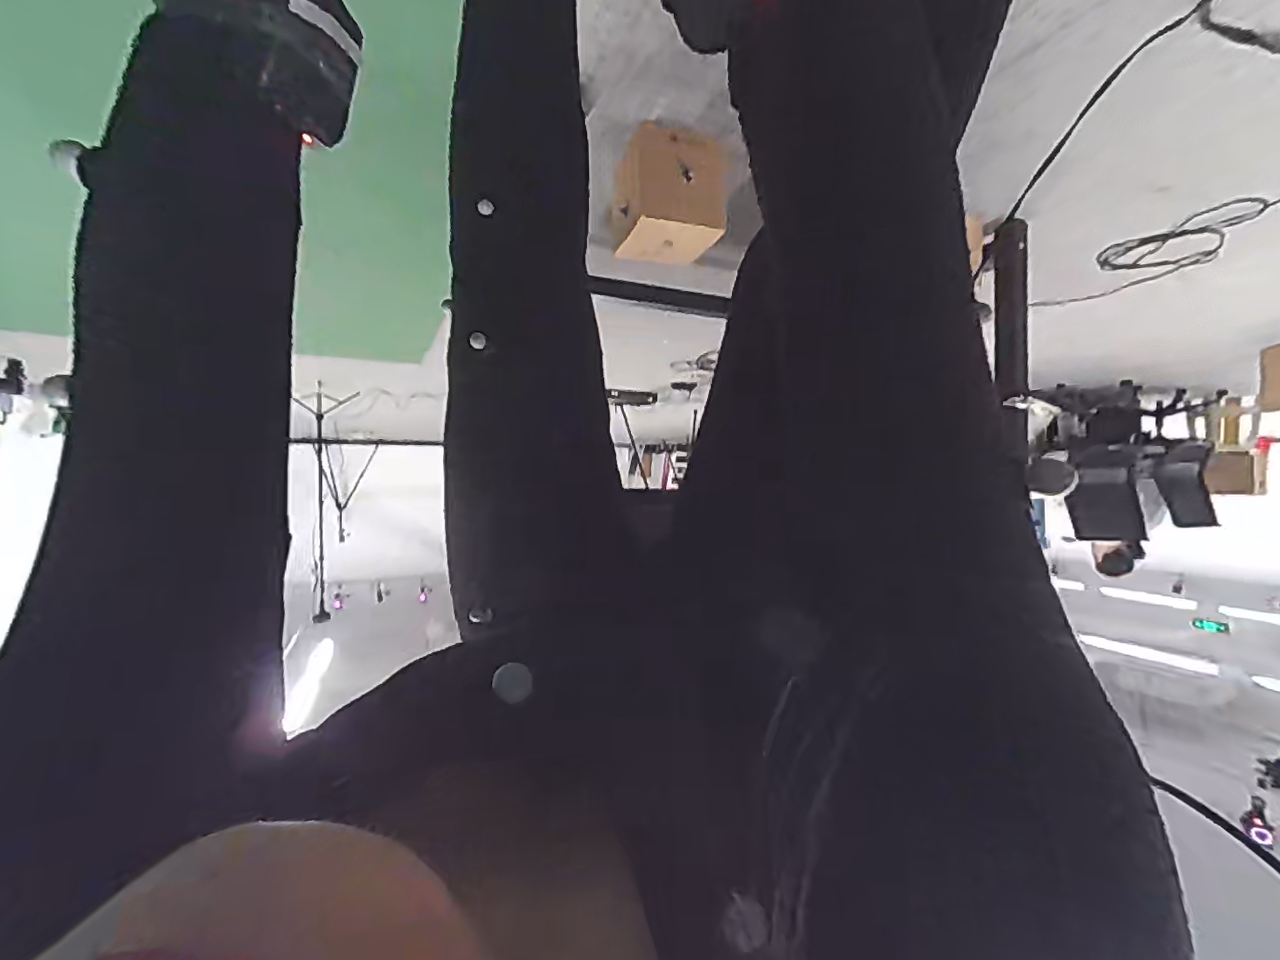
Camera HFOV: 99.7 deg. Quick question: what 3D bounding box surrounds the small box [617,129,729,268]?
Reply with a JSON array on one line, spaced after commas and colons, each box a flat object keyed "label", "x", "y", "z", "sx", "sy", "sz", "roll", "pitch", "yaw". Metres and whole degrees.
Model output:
[{"label": "small box", "x": 0.055, "y": -0.524, "z": 1.022, "sx": 0.168, "sy": 0.176, "sz": 0.179, "roll": 0, "pitch": 180, "yaw": -19}]
